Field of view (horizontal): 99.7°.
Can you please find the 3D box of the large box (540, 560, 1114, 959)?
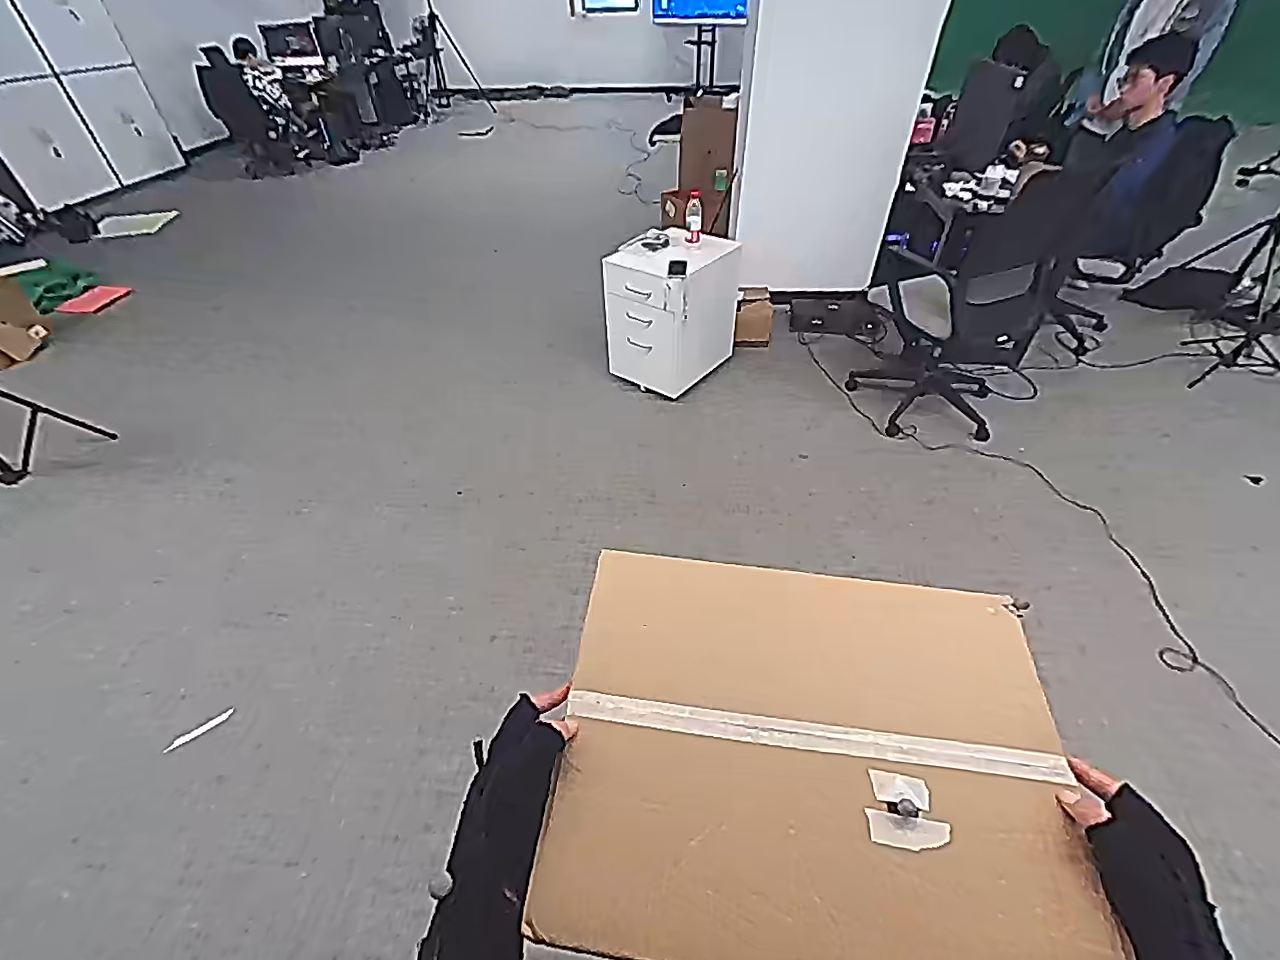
[{"bbox_3d":[0.140,0.313,0.574,0.408,0.320,0.320,6,51,5],"label":"large box"}]
